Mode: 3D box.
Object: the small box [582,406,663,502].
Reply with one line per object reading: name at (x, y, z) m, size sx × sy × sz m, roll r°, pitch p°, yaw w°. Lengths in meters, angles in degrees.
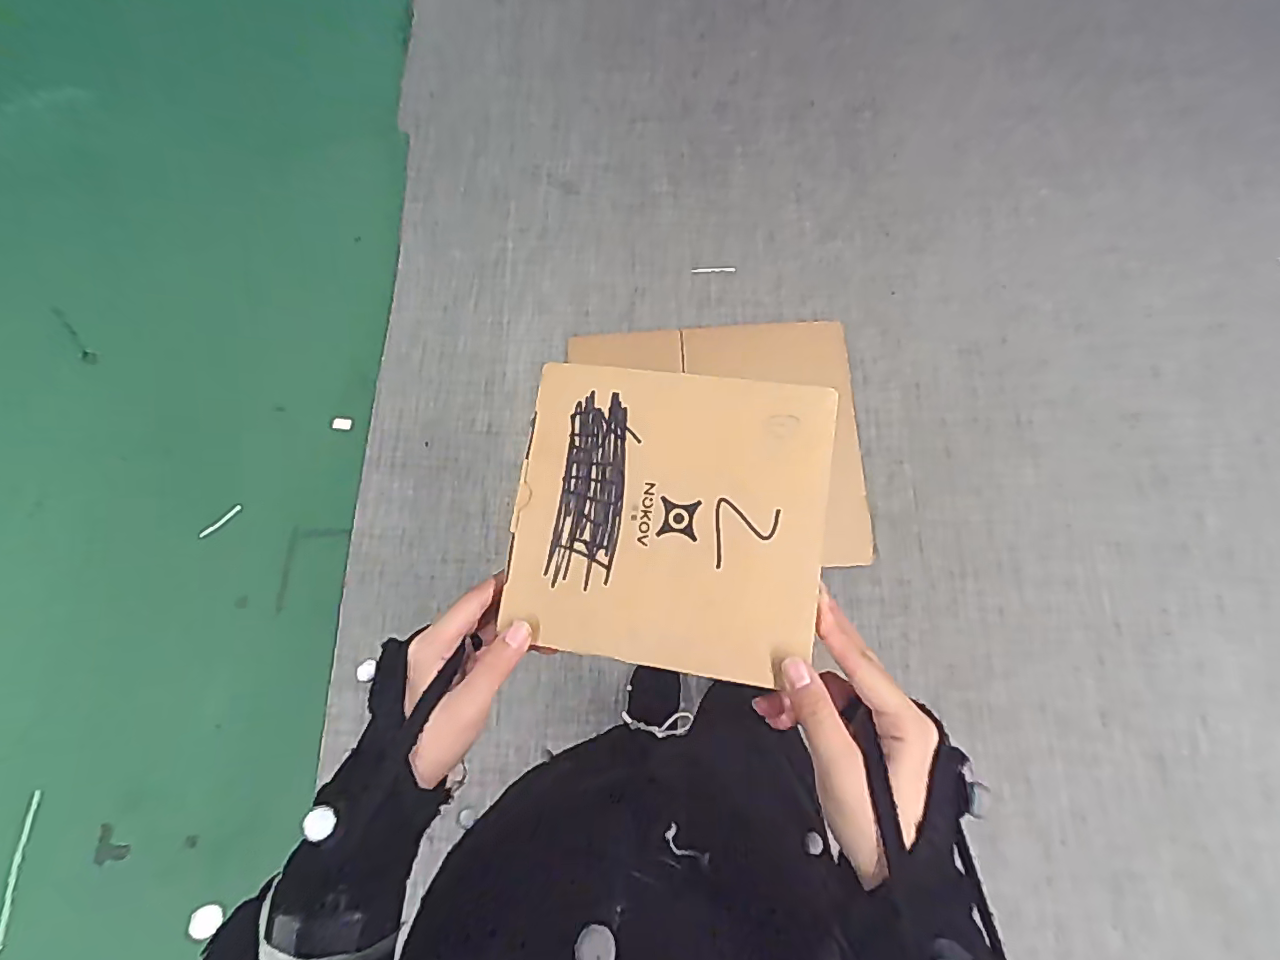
small box at (-0.036, -0.054, 1.211) m, size 0.168 × 0.176 × 0.179 m, roll -2°, pitch 77°, yaw 4°
